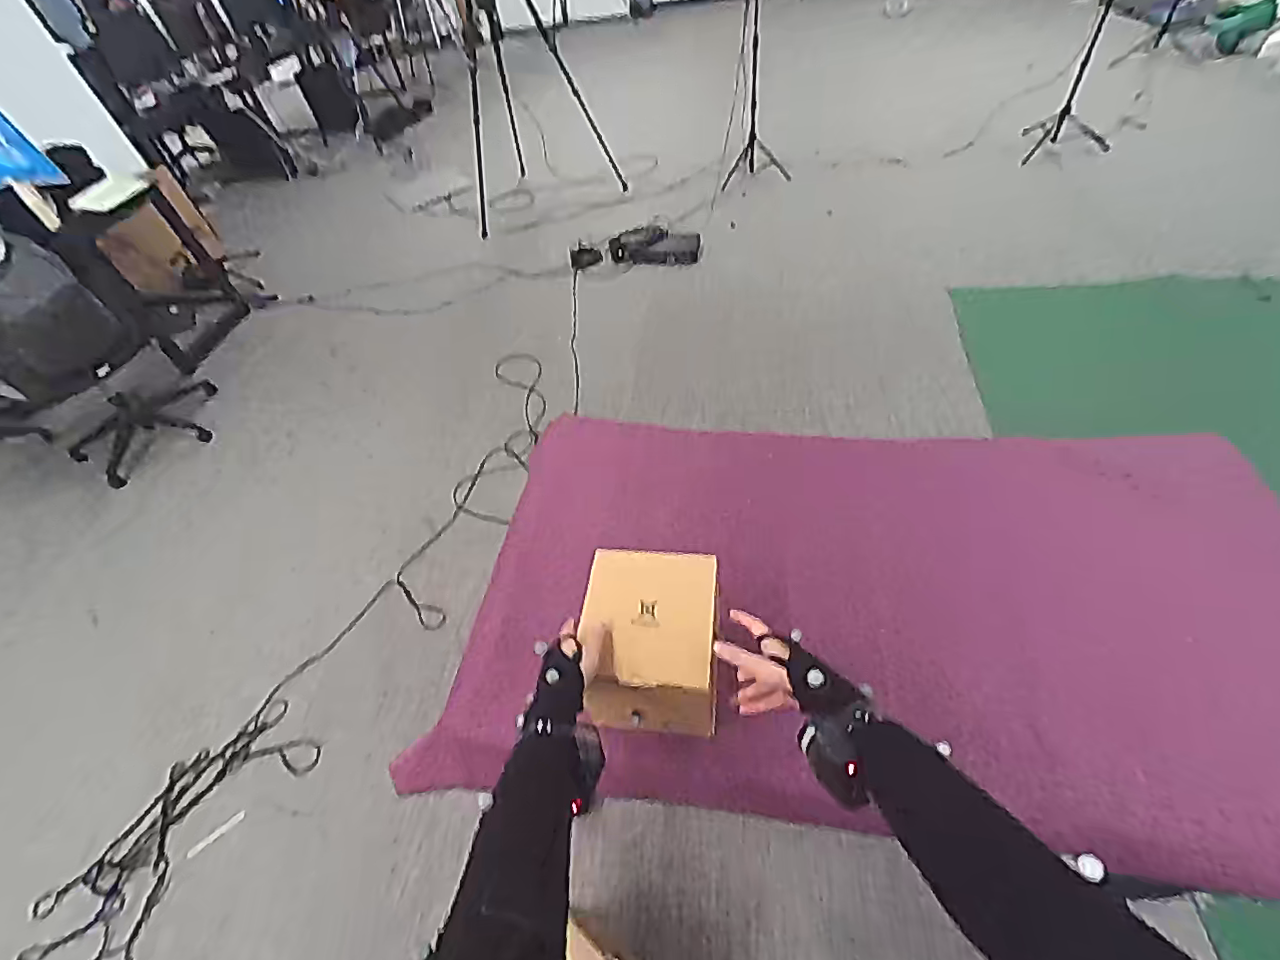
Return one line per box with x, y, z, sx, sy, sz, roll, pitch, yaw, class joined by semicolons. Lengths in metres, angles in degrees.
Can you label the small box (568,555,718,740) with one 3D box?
0.016;0.221;0.719;0.168;0.176;0.179;1;49;10;small box
